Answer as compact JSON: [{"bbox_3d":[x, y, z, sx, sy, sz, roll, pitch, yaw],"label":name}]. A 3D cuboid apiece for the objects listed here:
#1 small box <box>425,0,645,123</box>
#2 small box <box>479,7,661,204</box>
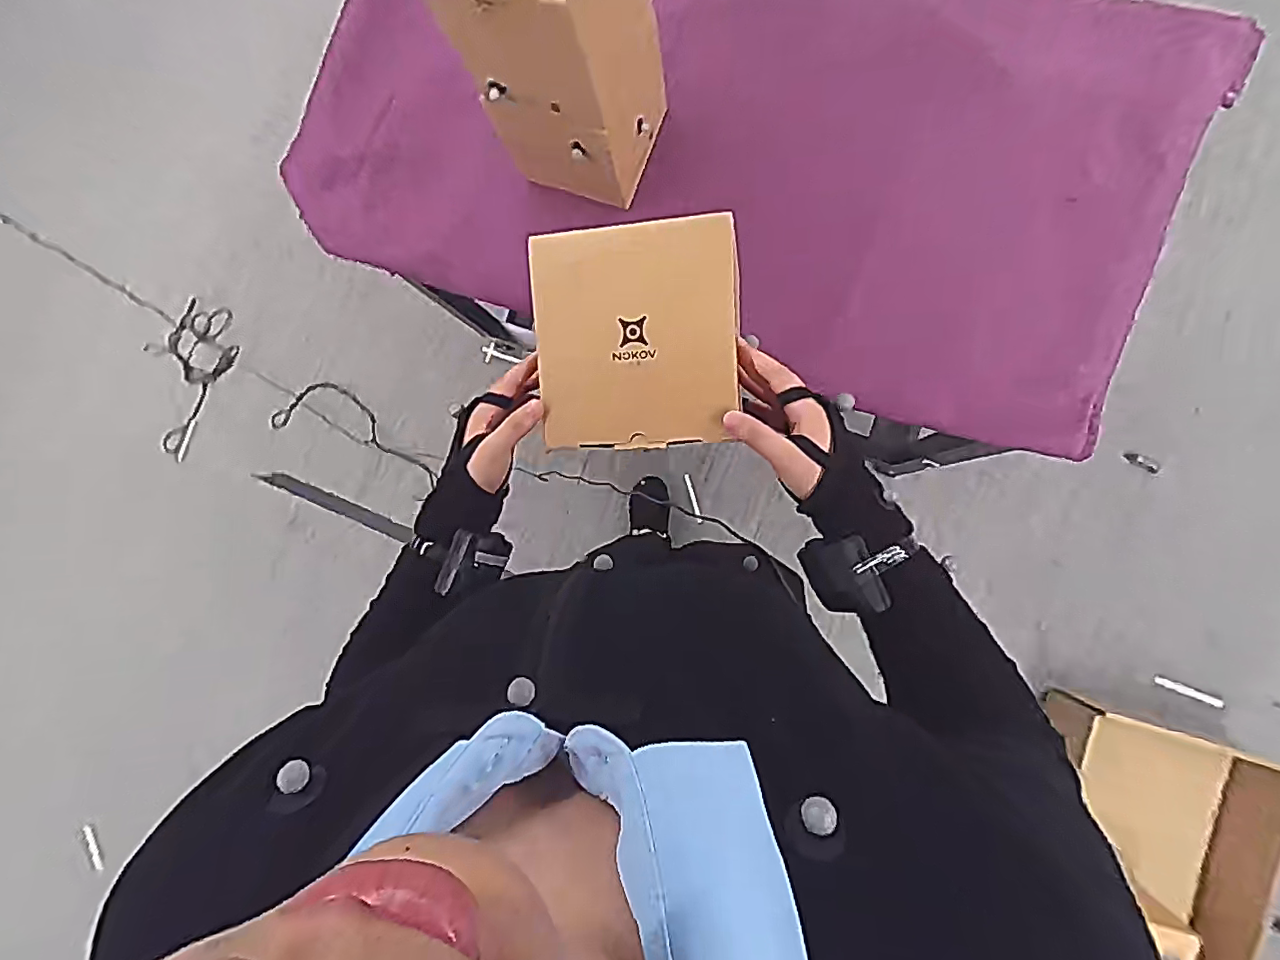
[{"bbox_3d":[-0.101,-0.524,0.569,0.168,0.176,0.179,19,89,8],"label":"small box"},{"bbox_3d":[-0.081,-0.508,0.732,0.179,0.176,0.168,21,90,9],"label":"small box"}]
